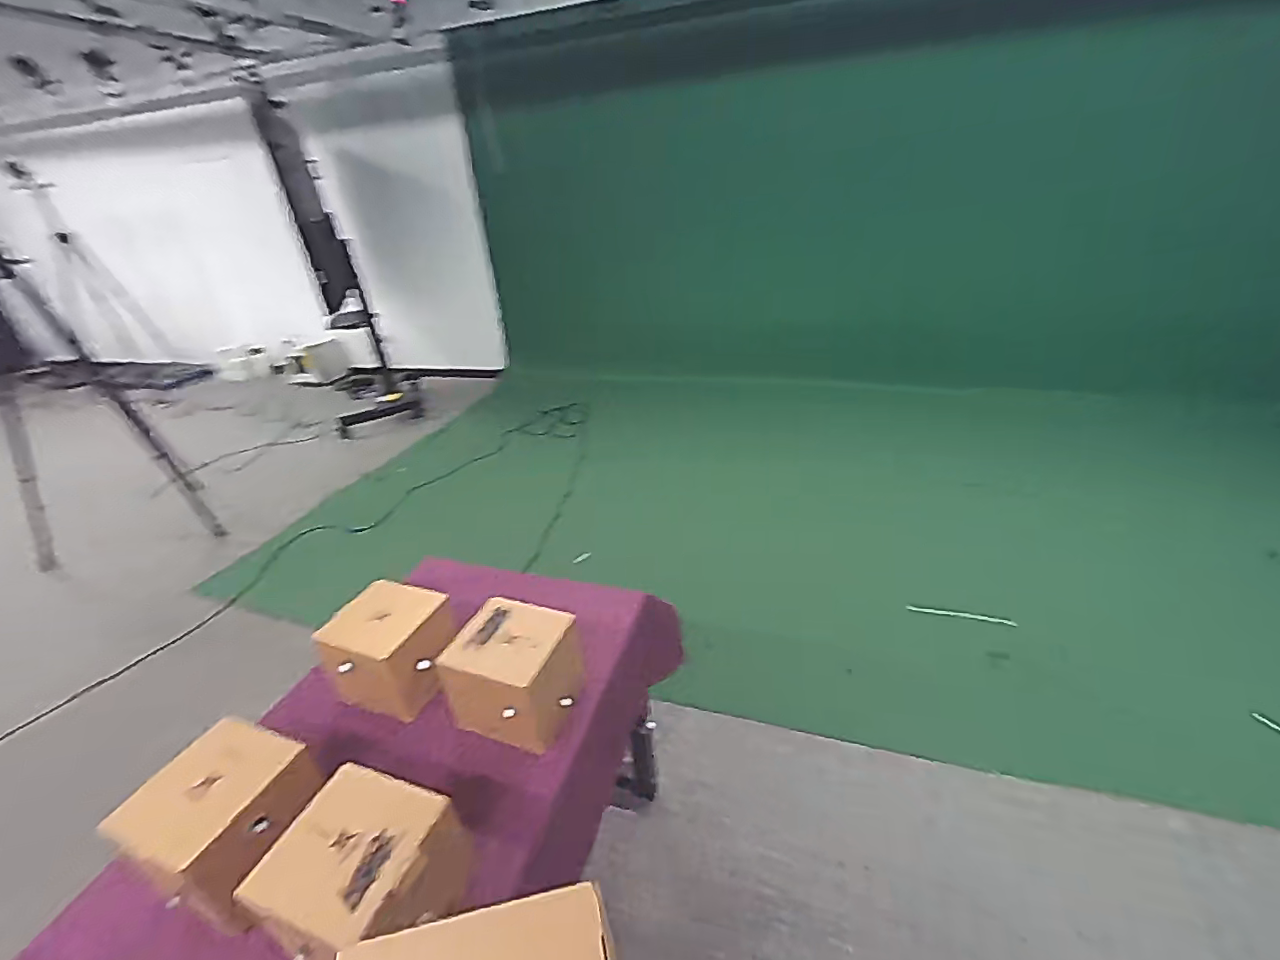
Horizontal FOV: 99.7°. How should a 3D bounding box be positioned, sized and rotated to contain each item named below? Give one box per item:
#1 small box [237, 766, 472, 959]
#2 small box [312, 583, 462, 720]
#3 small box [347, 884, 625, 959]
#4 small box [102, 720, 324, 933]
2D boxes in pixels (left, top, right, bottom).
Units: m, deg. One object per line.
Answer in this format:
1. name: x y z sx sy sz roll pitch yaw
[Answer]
1. small box: -0.342 0.507 0.685 0.179 0.176 0.168 5 30 20
2. small box: -0.470 0.327 1.033 0.179 0.176 0.168 6 31 21
3. small box: -0.091 0.406 0.357 0.179 0.176 0.168 -8 39 -7
4. small box: -0.577 0.486 0.767 0.168 0.176 0.179 7 31 20
